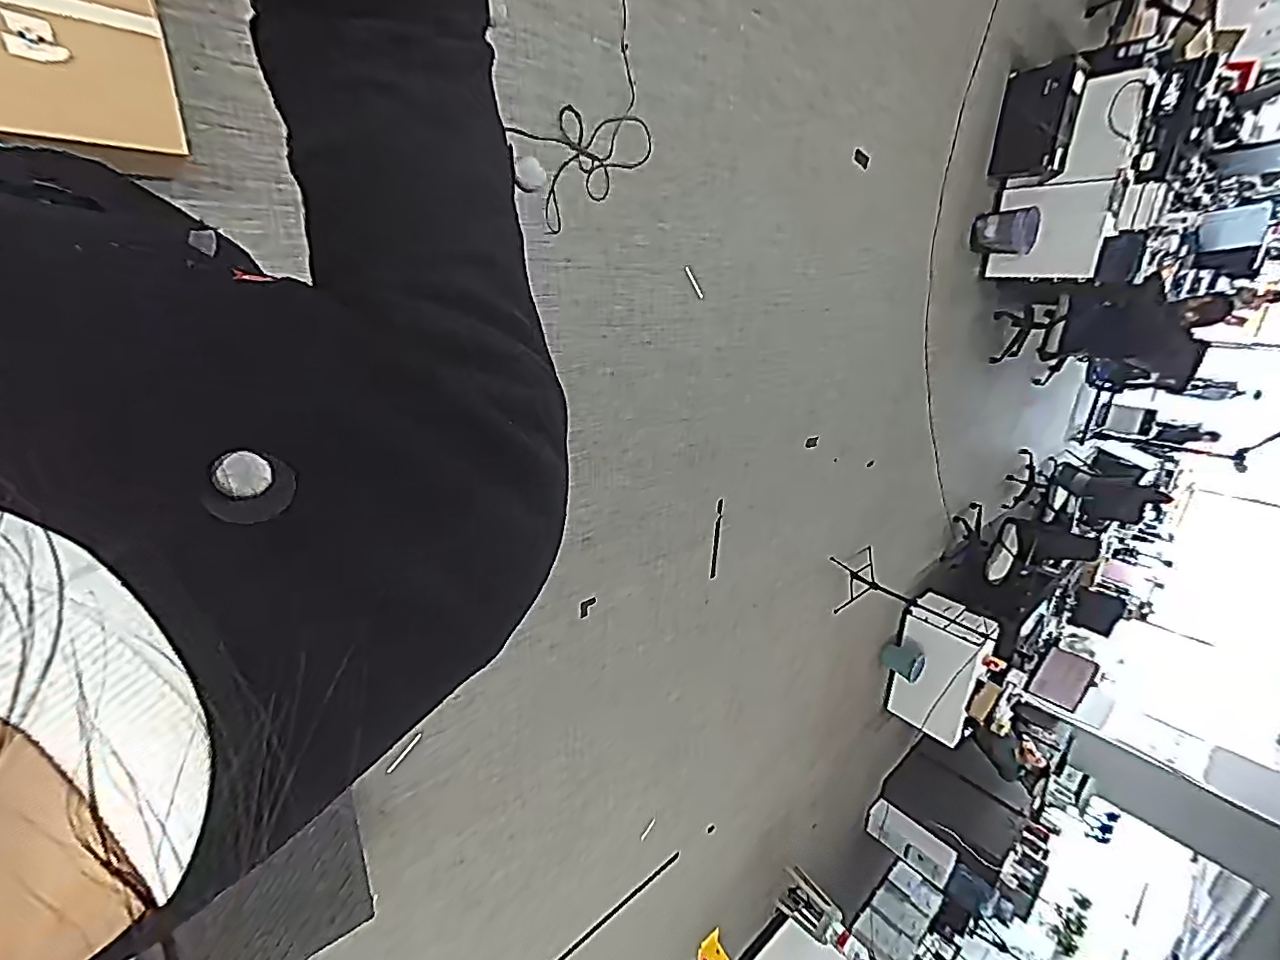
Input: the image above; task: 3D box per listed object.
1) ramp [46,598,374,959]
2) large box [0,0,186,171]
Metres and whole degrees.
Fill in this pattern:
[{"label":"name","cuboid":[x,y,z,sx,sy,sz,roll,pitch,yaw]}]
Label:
[{"label":"ramp","cuboid":[-1.005,0.830,1.350,0.509,0.206,0.991,-14,115,-37]},{"label":"large box","cuboid":[-0.935,-0.644,0.750,0.408,0.320,0.320,-16,117,-39]}]
